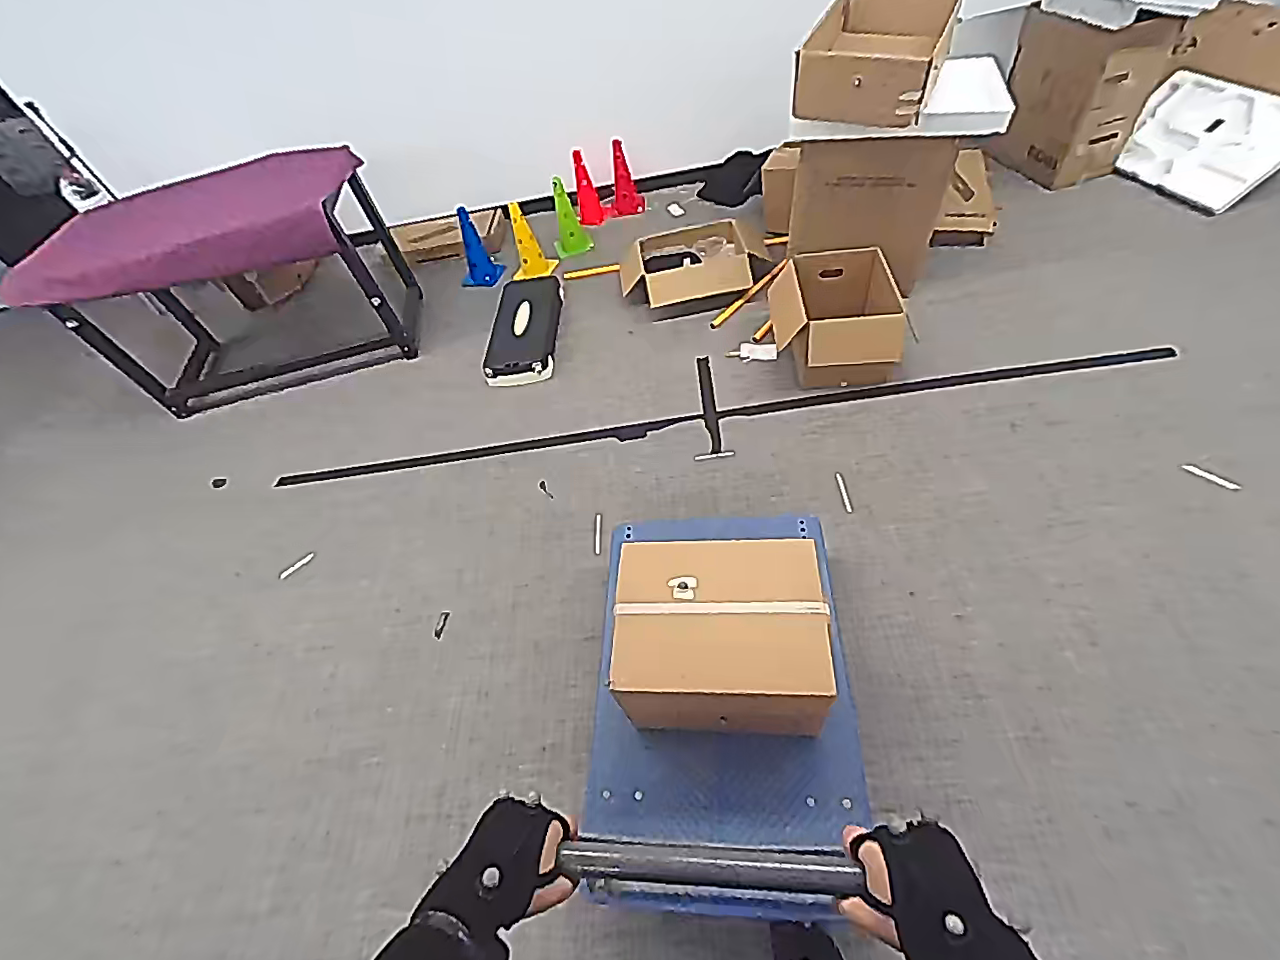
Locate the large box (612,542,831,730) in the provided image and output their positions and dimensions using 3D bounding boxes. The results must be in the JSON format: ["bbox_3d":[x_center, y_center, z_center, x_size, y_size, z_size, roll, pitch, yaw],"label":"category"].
[{"bbox_3d":[0.176,0.354,1.186,0.408,0.320,0.320,-3,52,10],"label":"large box"}]
